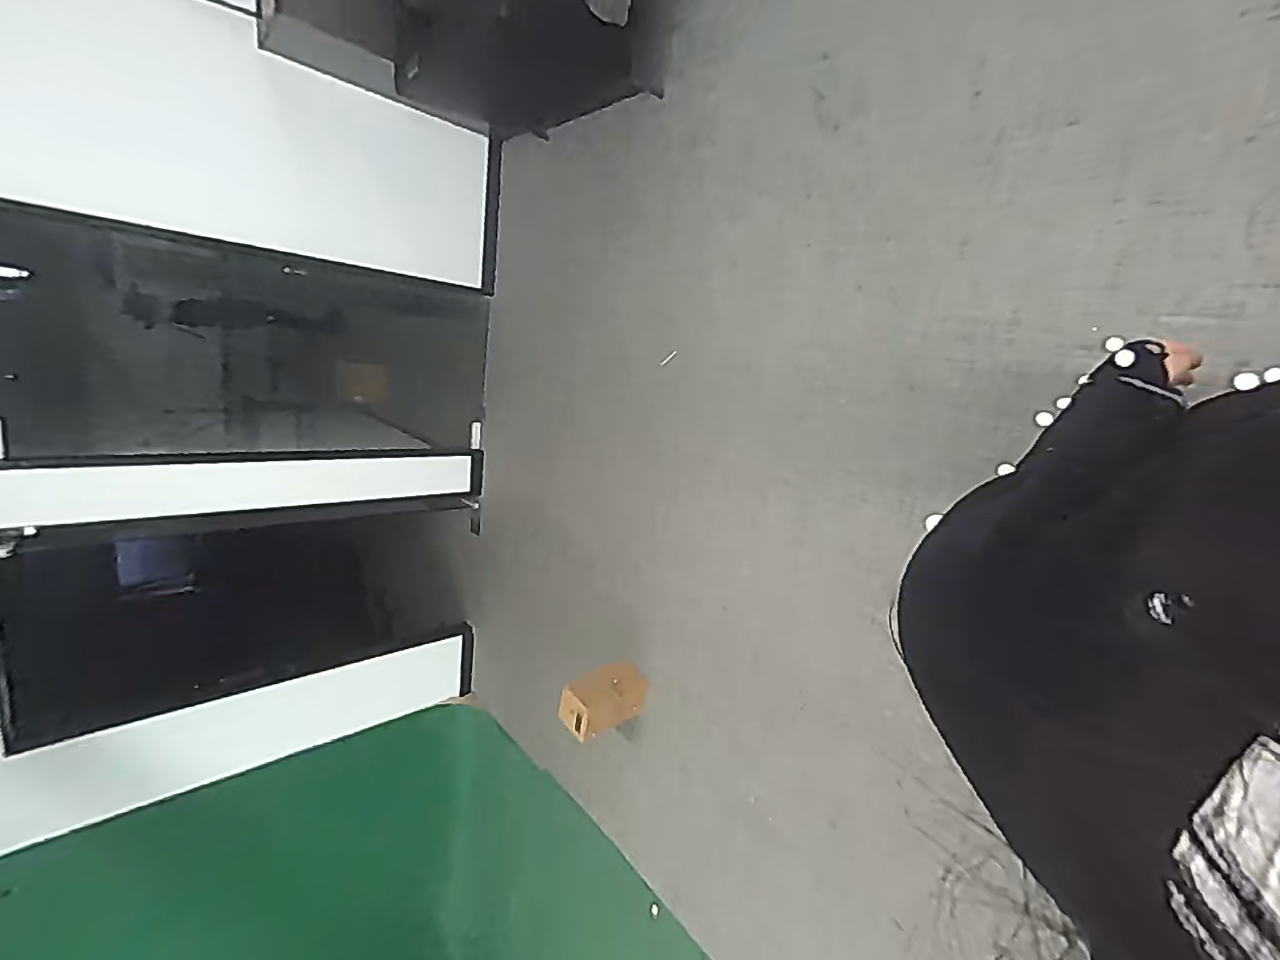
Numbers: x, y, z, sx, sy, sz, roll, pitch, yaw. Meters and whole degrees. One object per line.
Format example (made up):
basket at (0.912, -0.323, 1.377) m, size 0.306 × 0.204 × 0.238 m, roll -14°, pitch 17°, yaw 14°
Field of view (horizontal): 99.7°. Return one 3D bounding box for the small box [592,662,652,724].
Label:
small box at (-0.079, 0.917, 2.350) m, size 0.179 × 0.176 × 0.168 m, roll 34°, pitch 117°, yaw 40°
